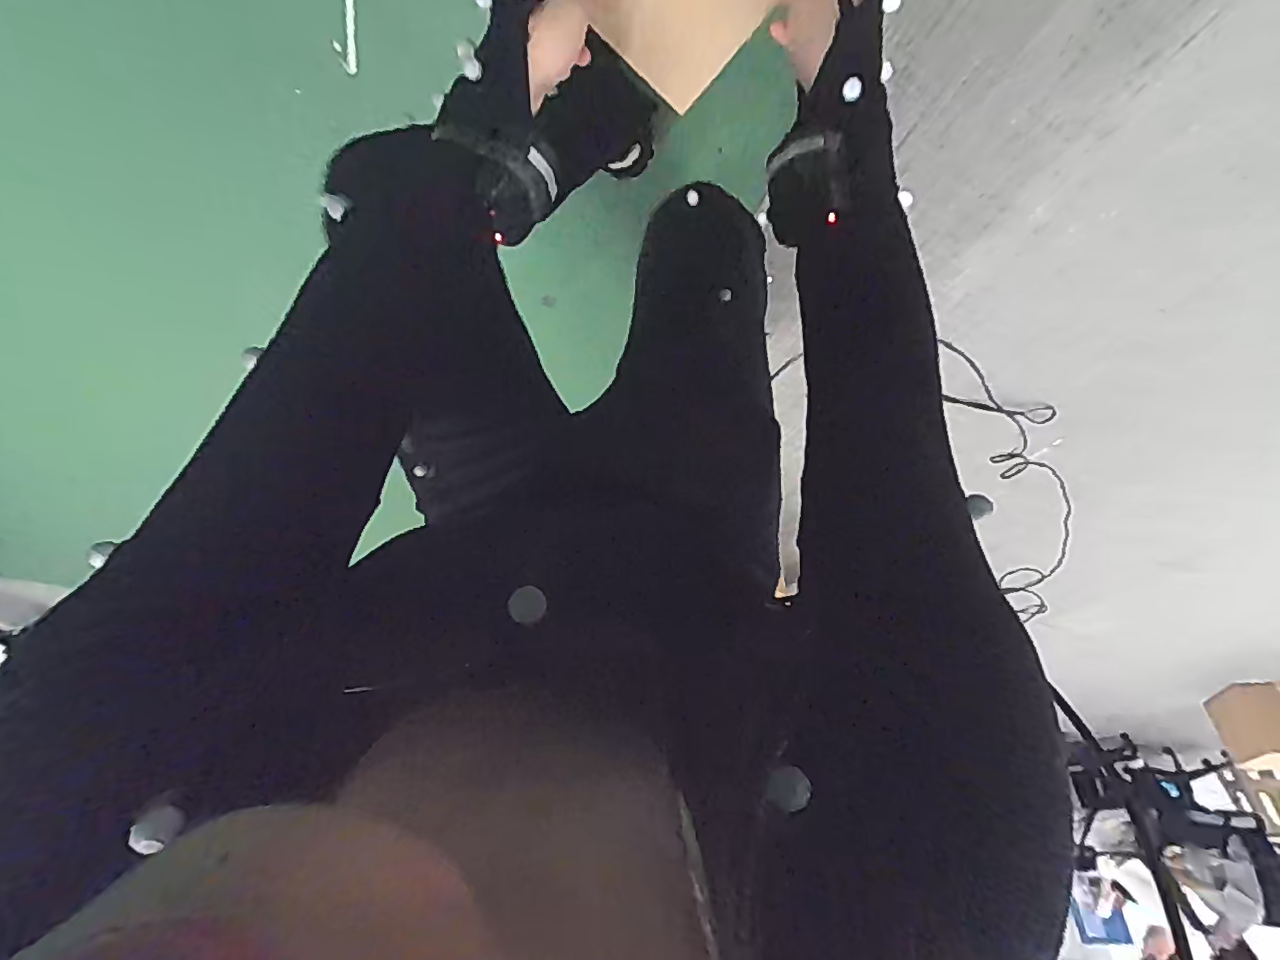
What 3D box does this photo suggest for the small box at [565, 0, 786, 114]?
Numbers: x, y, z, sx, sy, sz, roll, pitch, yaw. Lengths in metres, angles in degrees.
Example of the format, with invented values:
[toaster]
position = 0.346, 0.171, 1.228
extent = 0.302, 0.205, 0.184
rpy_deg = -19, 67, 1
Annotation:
[small box]
position = 0.038, -0.472, 0.451
extent = 0.168, 0.176, 0.179
rpy_deg = 24, 143, -33
